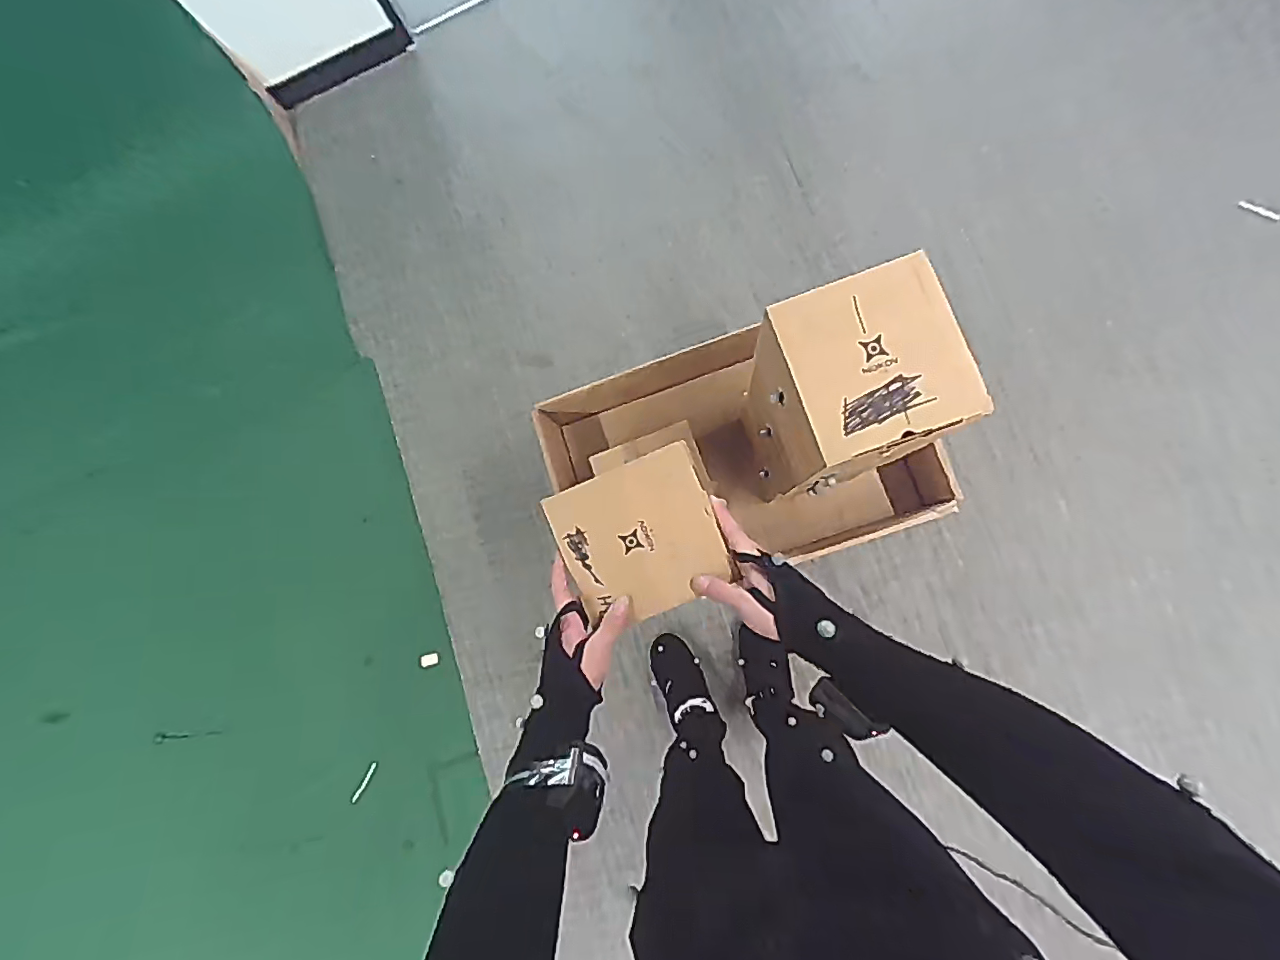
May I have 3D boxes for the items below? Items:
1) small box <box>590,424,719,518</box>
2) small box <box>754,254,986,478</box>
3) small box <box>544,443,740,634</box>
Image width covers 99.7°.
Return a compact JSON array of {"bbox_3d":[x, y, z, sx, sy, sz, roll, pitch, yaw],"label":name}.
[{"bbox_3d":[0.032,0.022,0.952,0.179,0.176,0.168,-20,81,3],"label":"small box"},{"bbox_3d":[0.236,-0.108,0.604,0.168,0.176,0.179,-19,80,5],"label":"small box"},{"bbox_3d":[0.008,0.066,0.670,0.179,0.176,0.168,-22,86,6],"label":"small box"}]
